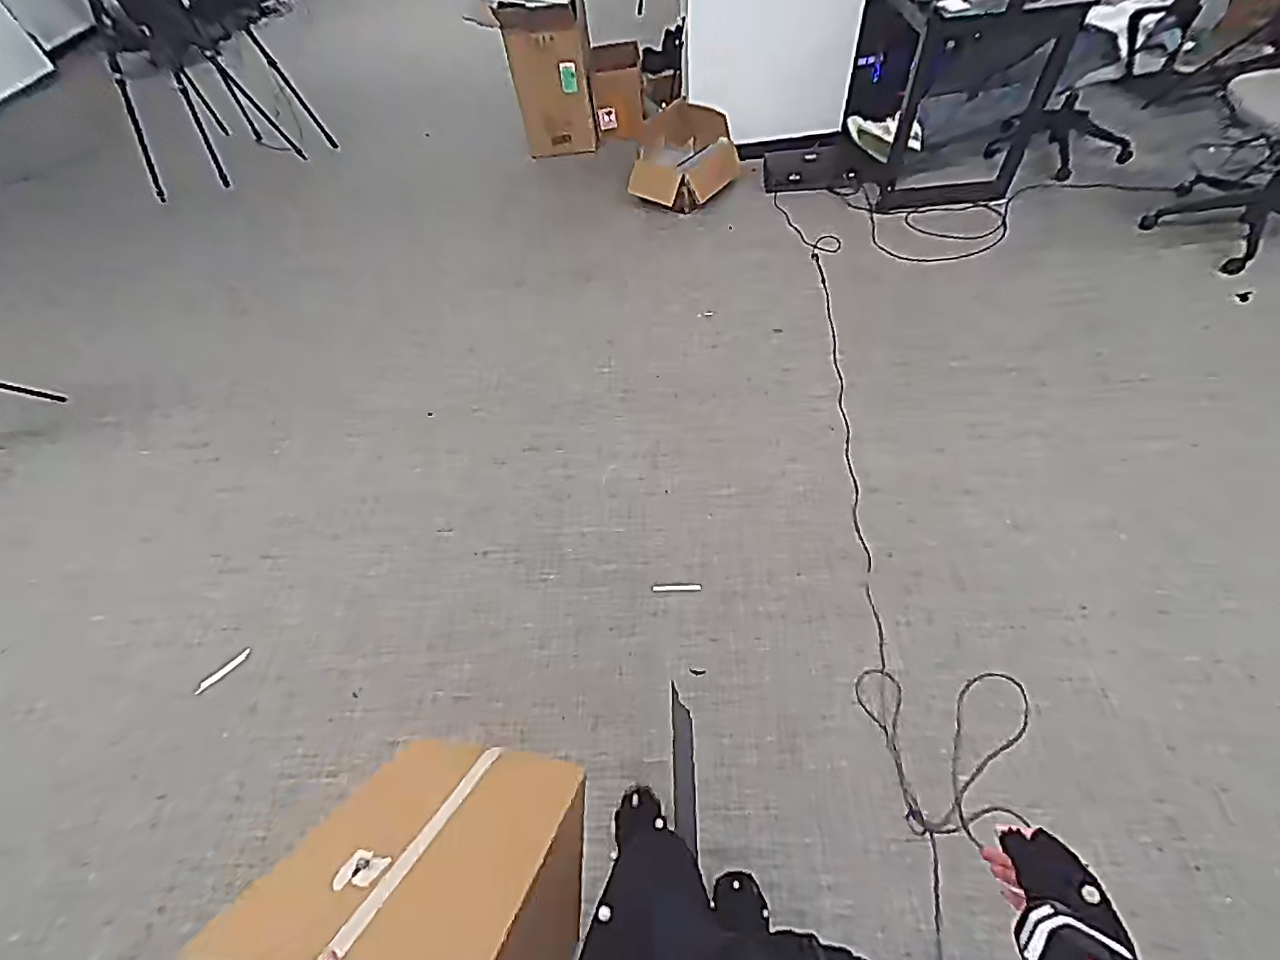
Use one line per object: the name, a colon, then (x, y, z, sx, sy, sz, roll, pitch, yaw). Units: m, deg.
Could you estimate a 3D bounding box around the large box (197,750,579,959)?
large box: (-0.291, 0.648, 0.735, 0.320, 0.408, 0.320, 3, 96, 12)
